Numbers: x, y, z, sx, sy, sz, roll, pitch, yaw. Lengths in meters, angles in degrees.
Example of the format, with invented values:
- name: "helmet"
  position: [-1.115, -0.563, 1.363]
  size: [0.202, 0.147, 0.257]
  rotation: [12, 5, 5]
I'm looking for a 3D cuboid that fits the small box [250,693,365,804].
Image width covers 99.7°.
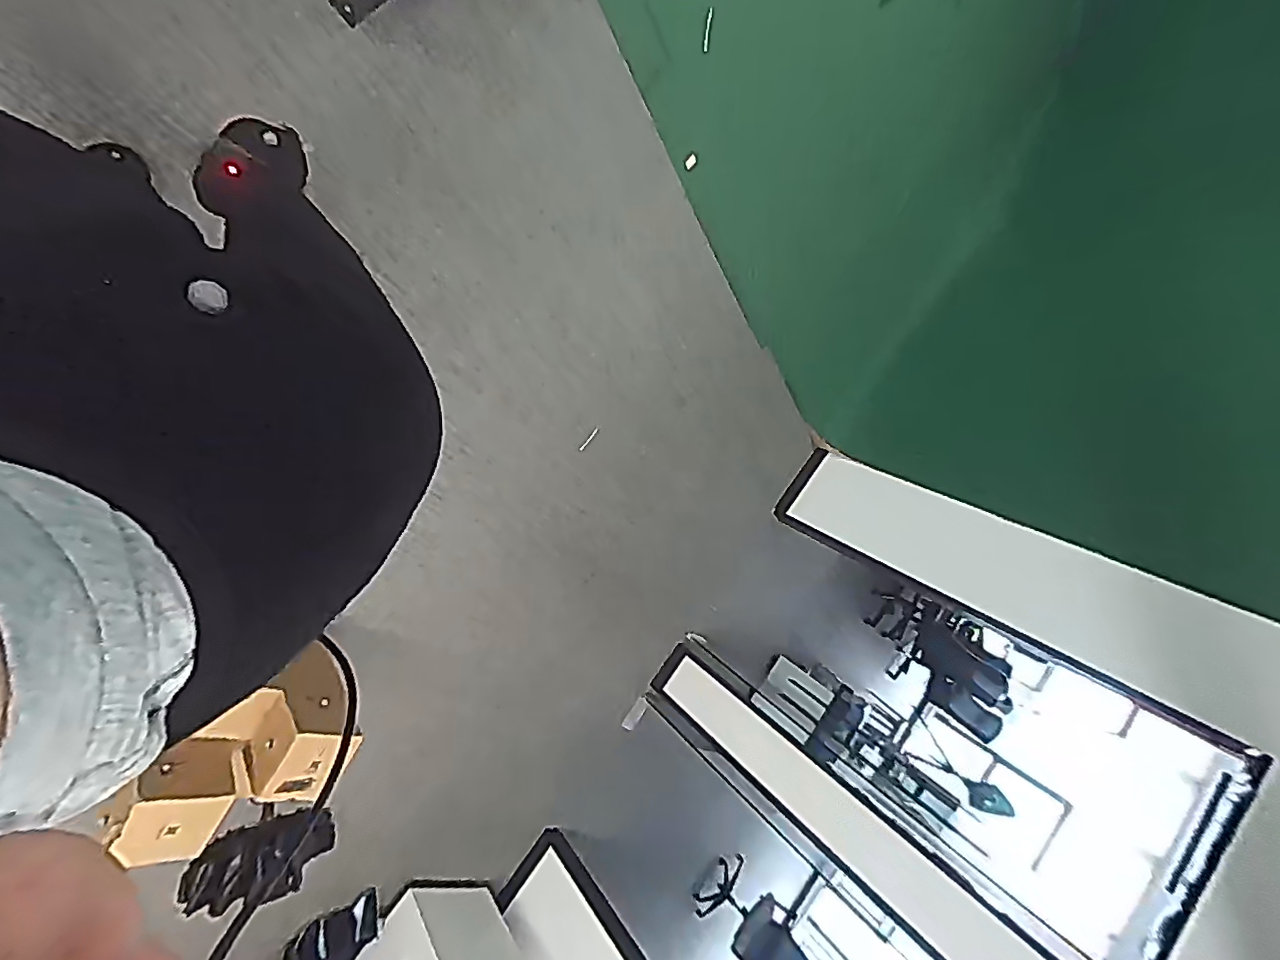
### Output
- name: "small box"
  position: [-0.819, 0.656, 1.326]
  size: [0.168, 0.176, 0.179]
  rotation: [37, 81, -47]

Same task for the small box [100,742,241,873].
- name: "small box"
  position: [-1.009, 0.691, 1.164]
  size: [0.179, 0.176, 0.168]
  rotation: [30, 93, -49]
